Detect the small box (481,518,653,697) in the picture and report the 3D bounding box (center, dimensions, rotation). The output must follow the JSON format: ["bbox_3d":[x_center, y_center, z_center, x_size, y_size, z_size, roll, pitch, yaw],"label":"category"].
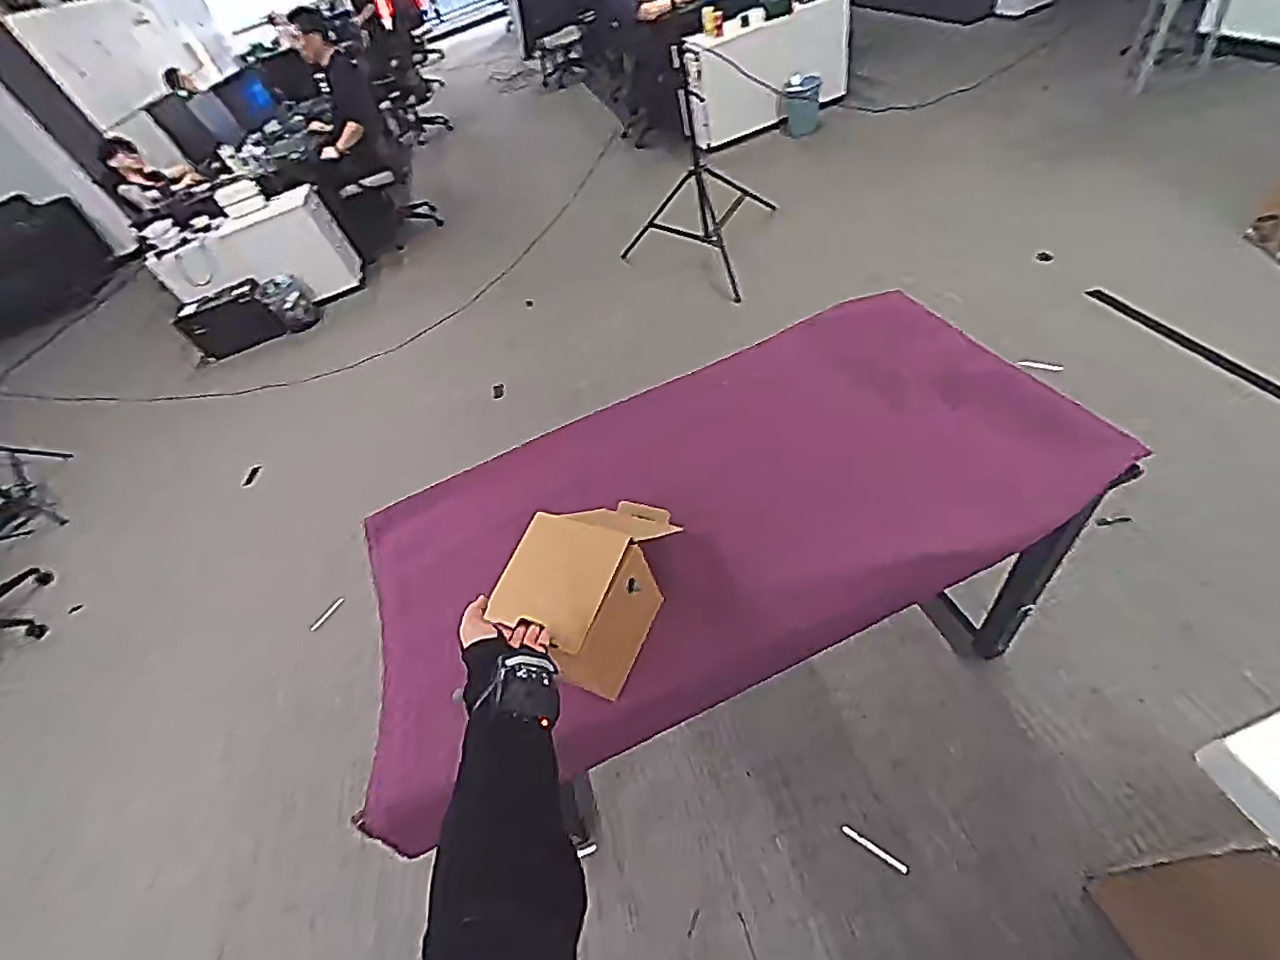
[{"bbox_3d":[-0.094,0.188,0.803,0.168,0.176,0.179,11,55,28],"label":"small box"}]
